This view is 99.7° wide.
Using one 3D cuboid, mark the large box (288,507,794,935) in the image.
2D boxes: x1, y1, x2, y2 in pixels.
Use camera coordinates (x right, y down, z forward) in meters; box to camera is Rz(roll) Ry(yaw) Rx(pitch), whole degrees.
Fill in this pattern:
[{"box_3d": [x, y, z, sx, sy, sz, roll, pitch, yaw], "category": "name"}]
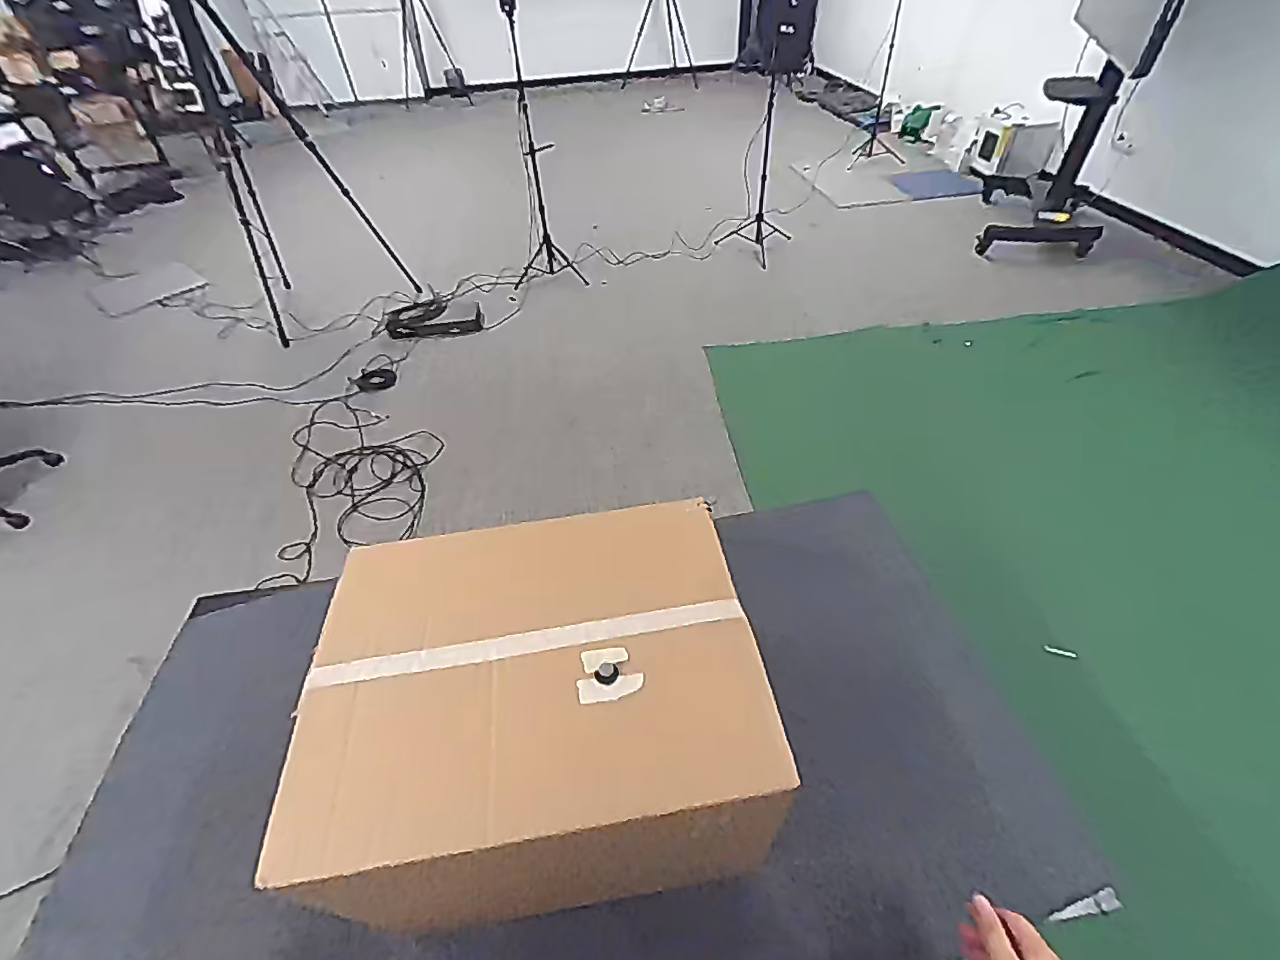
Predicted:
[{"box_3d": [-0.088, 0.271, 0.626, 0.408, 0.320, 0.320, -8, 45, -5], "category": "large box"}]
